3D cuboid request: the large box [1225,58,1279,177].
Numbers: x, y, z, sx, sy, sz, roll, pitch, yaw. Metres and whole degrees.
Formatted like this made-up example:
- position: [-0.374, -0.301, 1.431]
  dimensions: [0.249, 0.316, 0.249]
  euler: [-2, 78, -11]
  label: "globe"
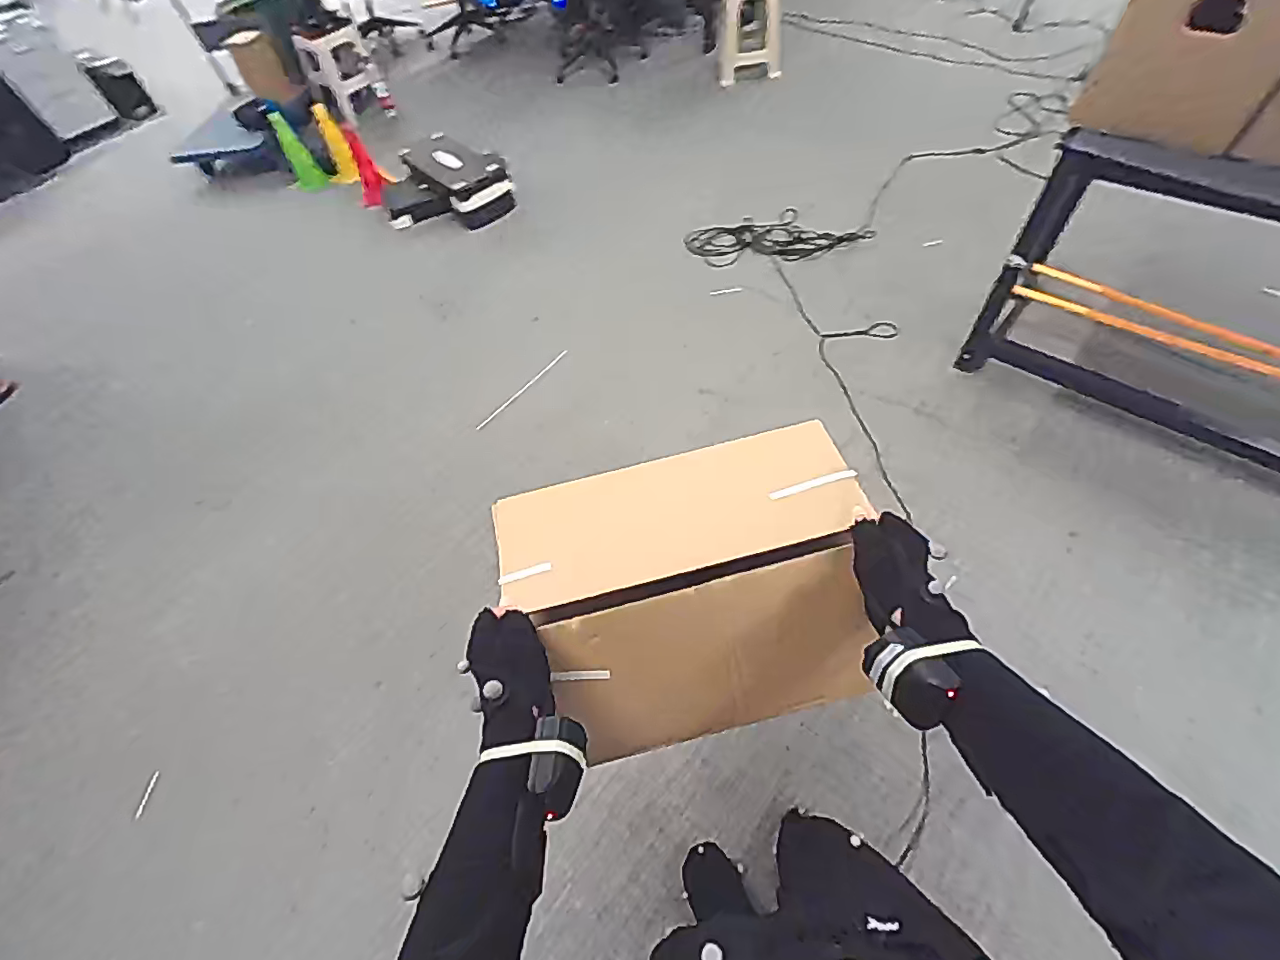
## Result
- position: [1.462, -0.822, 1.034]
  dimensions: [0.320, 0.320, 0.408]
  euler: [33, 67, 27]
  label: "large box"
